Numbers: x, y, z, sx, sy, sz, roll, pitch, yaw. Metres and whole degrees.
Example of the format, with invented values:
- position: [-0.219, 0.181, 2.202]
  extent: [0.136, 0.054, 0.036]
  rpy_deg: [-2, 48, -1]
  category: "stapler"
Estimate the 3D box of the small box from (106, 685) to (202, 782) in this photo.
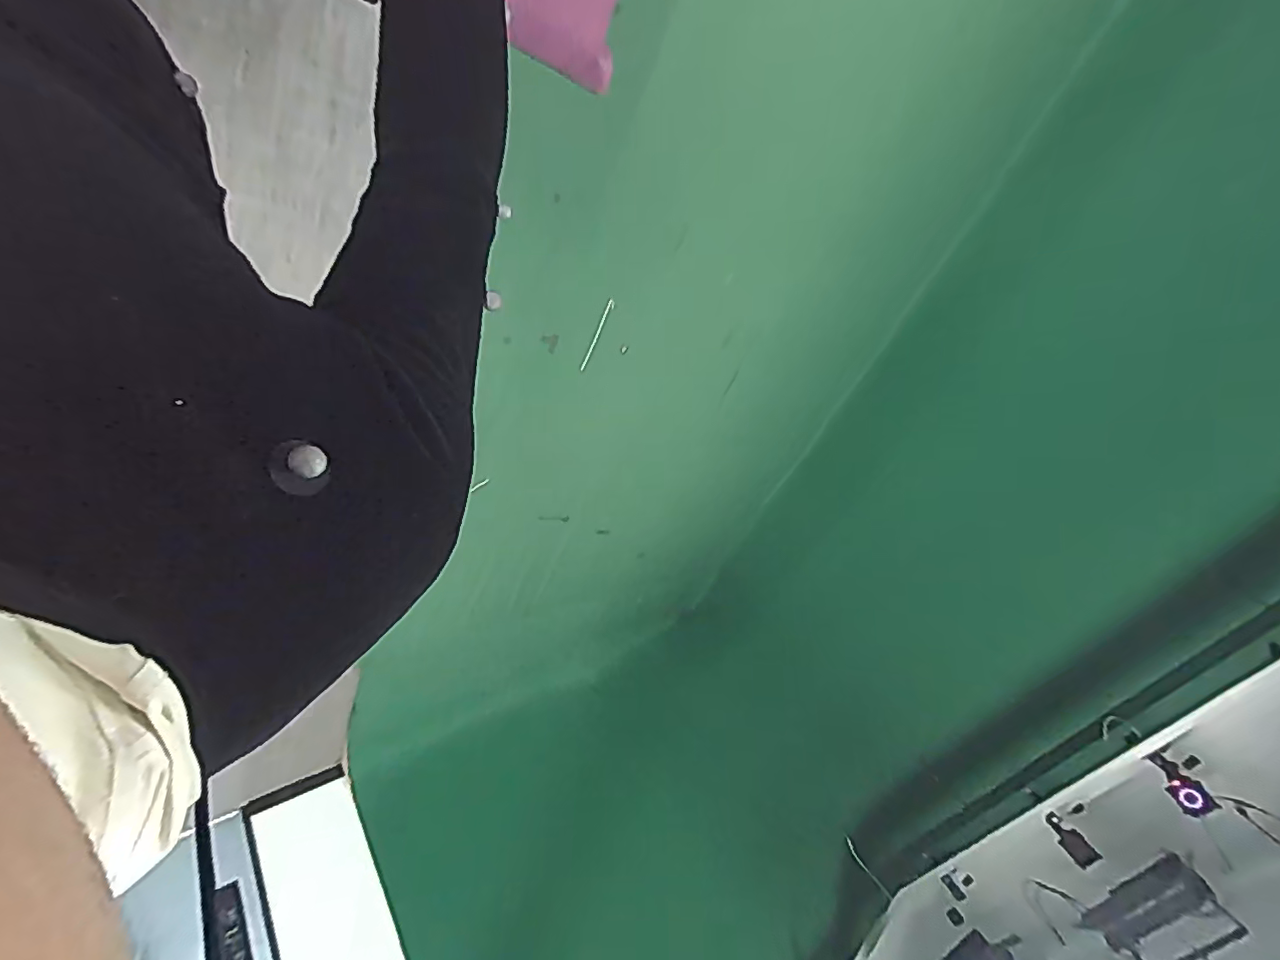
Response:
- position: [-1.408, 0.724, 1.565]
  extent: [0.179, 0.176, 0.168]
  rpy_deg: [2, 129, -51]
  category: "small box"
